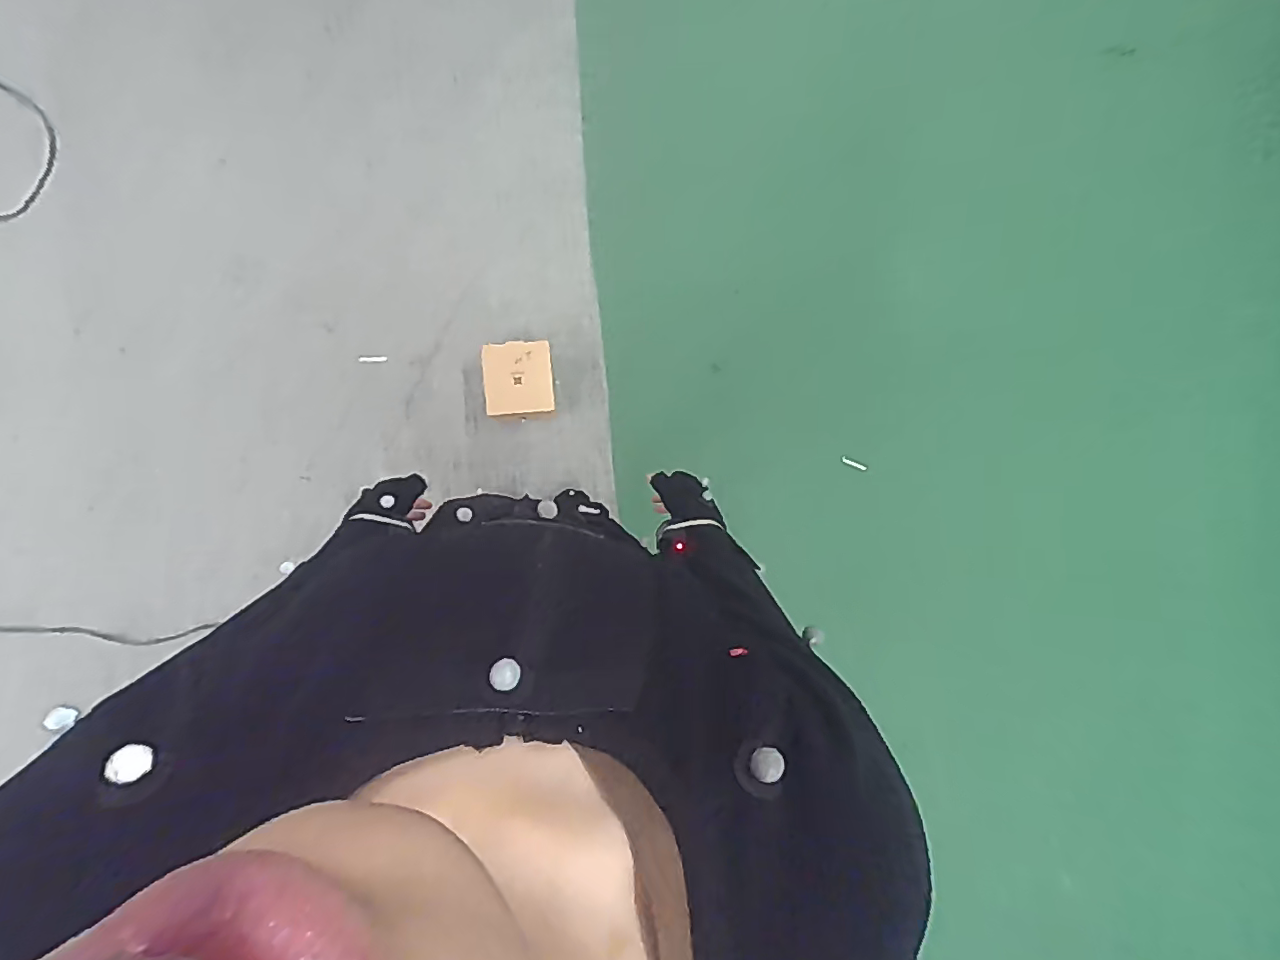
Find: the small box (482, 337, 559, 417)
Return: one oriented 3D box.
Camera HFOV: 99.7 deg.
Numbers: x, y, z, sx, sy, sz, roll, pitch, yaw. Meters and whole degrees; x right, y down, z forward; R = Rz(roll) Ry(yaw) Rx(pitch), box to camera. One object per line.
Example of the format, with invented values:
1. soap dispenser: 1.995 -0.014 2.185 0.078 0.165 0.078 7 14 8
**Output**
1. small box: -0.300 -0.257 1.383 0.168 0.176 0.179 -5 91 -6
